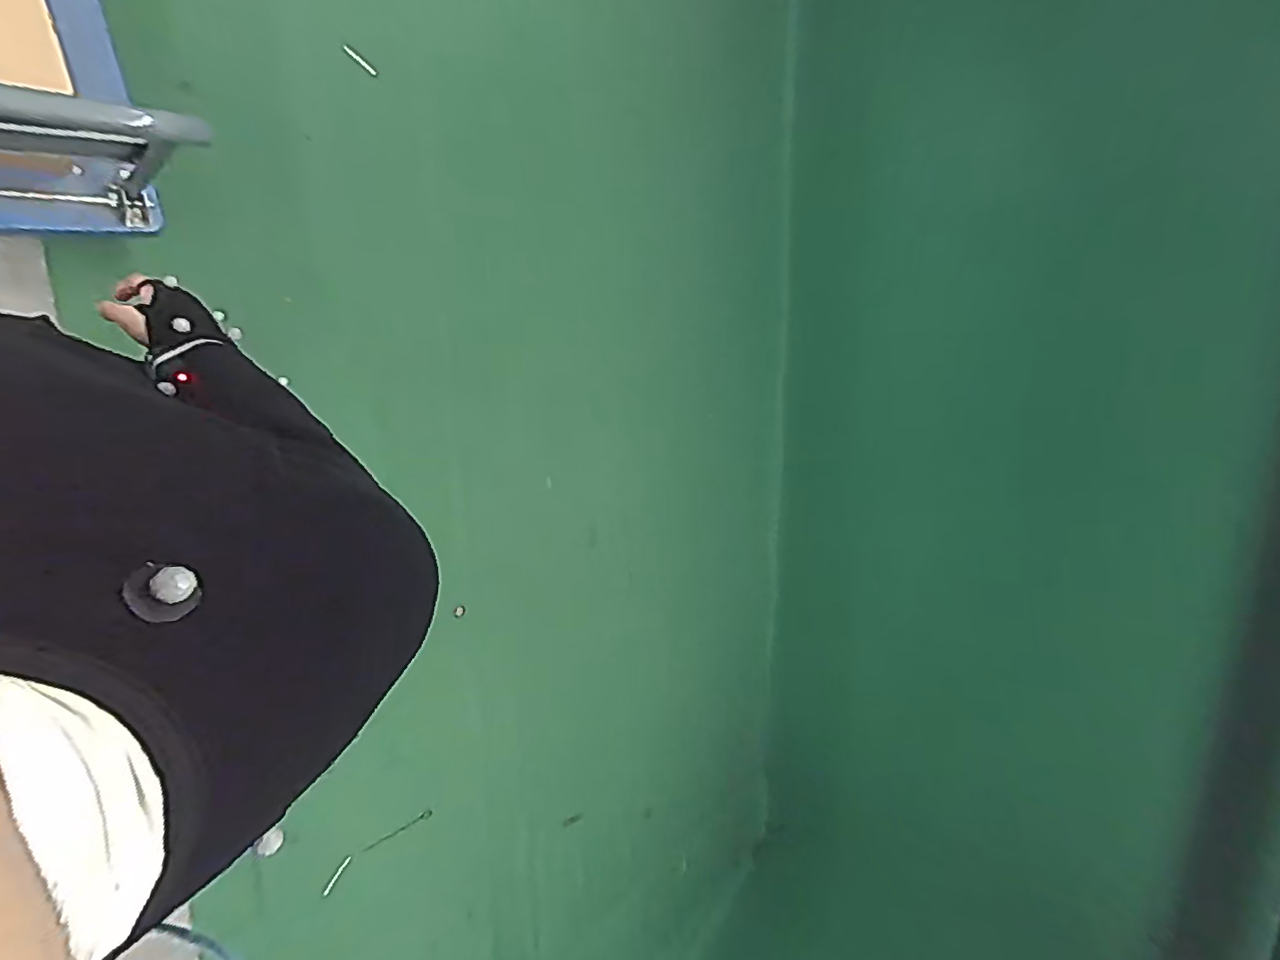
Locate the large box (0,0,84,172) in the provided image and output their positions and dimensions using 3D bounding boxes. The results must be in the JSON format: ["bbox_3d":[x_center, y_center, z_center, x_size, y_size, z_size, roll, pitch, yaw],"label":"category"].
[{"bbox_3d":[-1.052,-0.695,0.740,0.320,0.320,0.408,-22,111,-44],"label":"large box"}]
